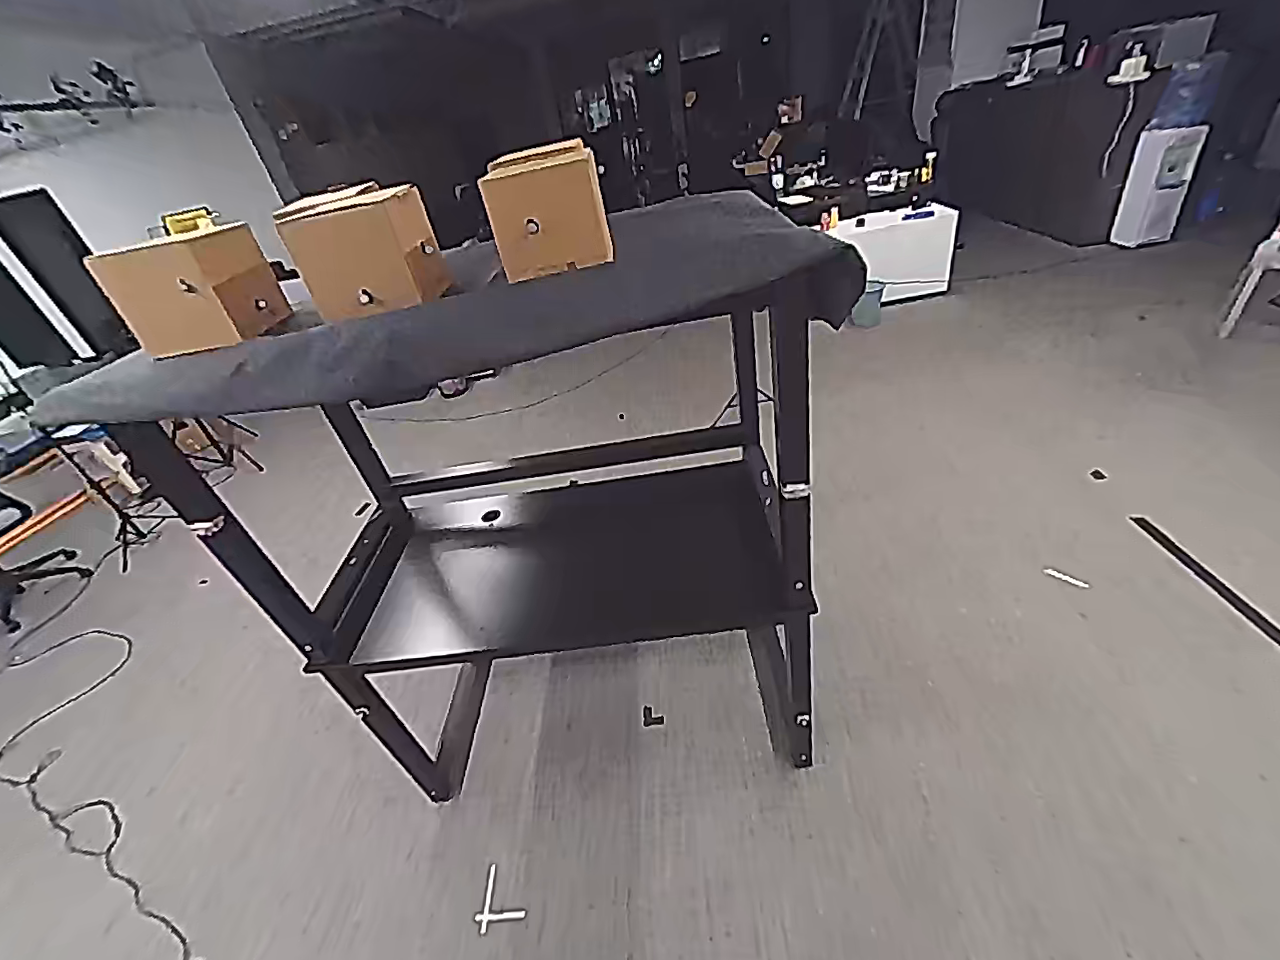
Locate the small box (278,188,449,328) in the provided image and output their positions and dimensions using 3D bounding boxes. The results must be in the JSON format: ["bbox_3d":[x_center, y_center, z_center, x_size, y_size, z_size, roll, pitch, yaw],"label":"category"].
[{"bbox_3d":[-0.446,-0.373,0.911,0.179,0.176,0.168,-9,35,4],"label":"small box"}]

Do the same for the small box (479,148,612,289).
[{"bbox_3d":[-0.142,-0.424,0.887,0.168,0.176,0.179,-10,34,4],"label":"small box"}]

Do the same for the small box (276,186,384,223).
[{"bbox_3d":[-0.613,-0.505,1.146,0.168,0.176,0.179,-14,35,1],"label":"small box"}]

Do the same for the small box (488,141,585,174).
[{"bbox_3d":[-0.188,-0.585,1.122,0.179,0.176,0.168,-9,36,6],"label":"small box"}]
